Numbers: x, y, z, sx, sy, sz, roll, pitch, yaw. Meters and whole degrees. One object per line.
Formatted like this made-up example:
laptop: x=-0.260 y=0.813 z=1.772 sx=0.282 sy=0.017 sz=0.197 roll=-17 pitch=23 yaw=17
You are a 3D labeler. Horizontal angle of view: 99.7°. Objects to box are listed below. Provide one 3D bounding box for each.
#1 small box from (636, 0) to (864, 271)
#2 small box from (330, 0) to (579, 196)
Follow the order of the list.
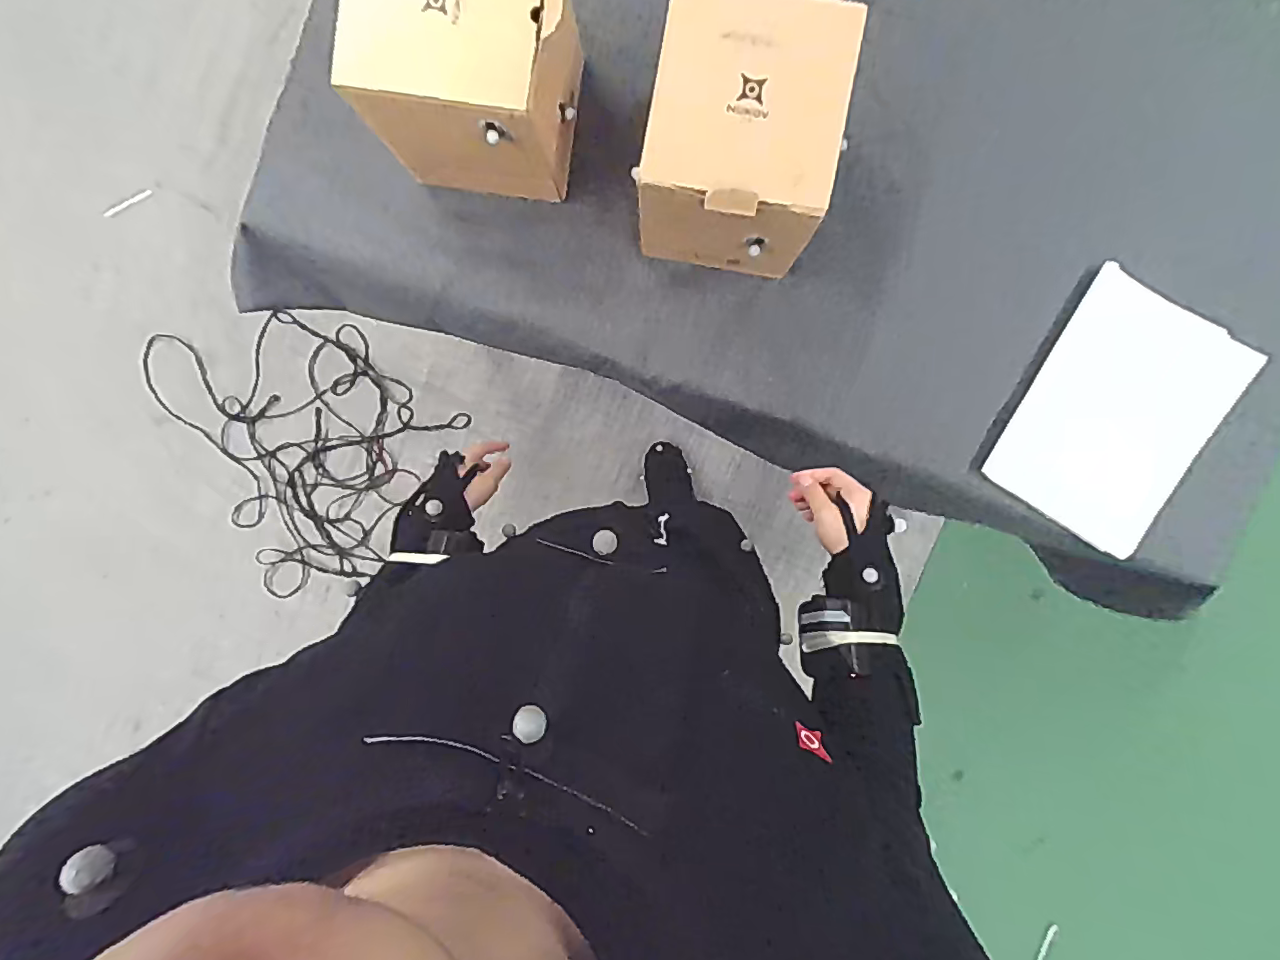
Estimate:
small box: x=0.093 y=-0.327 z=0.532 sx=0.168 sy=0.176 sz=0.179 roll=10 pitch=91 yaw=0
small box: x=-0.166 y=-0.409 z=0.536 sx=0.179 sy=0.176 sz=0.168 roll=8 pitch=92 yaw=0
